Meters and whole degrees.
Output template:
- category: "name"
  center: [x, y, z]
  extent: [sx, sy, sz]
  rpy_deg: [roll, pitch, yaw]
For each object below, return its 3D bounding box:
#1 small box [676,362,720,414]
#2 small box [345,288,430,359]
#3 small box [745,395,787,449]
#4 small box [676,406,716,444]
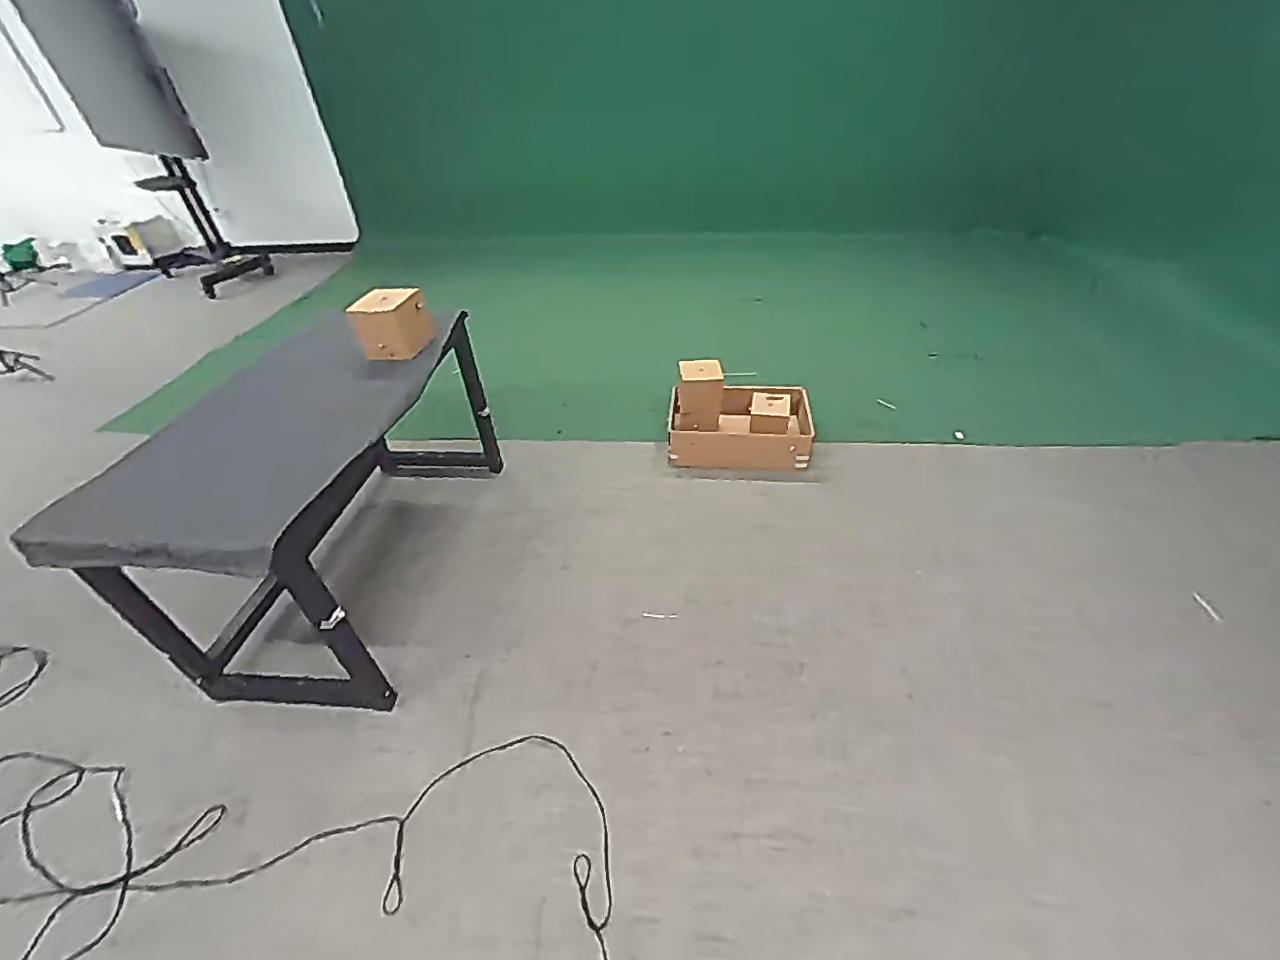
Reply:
- category: "small box"
  center: [0.249, -0.403, 2.373]
  extent: [0.179, 0.176, 0.168]
  rpy_deg: [-2, 42, -2]
- category: "small box"
  center: [-0.804, -0.509, 1.749]
  extent: [0.168, 0.176, 0.179]
  rpy_deg: [3, 41, 10]
- category: "small box"
  center: [0.568, -0.265, 2.449]
  extent: [0.168, 0.176, 0.179]
  rpy_deg: [6, 42, 12]
- category: "small box"
  center: [0.260, -0.277, 2.479]
  extent: [0.179, 0.176, 0.168]
  rpy_deg: [3, 41, 7]
